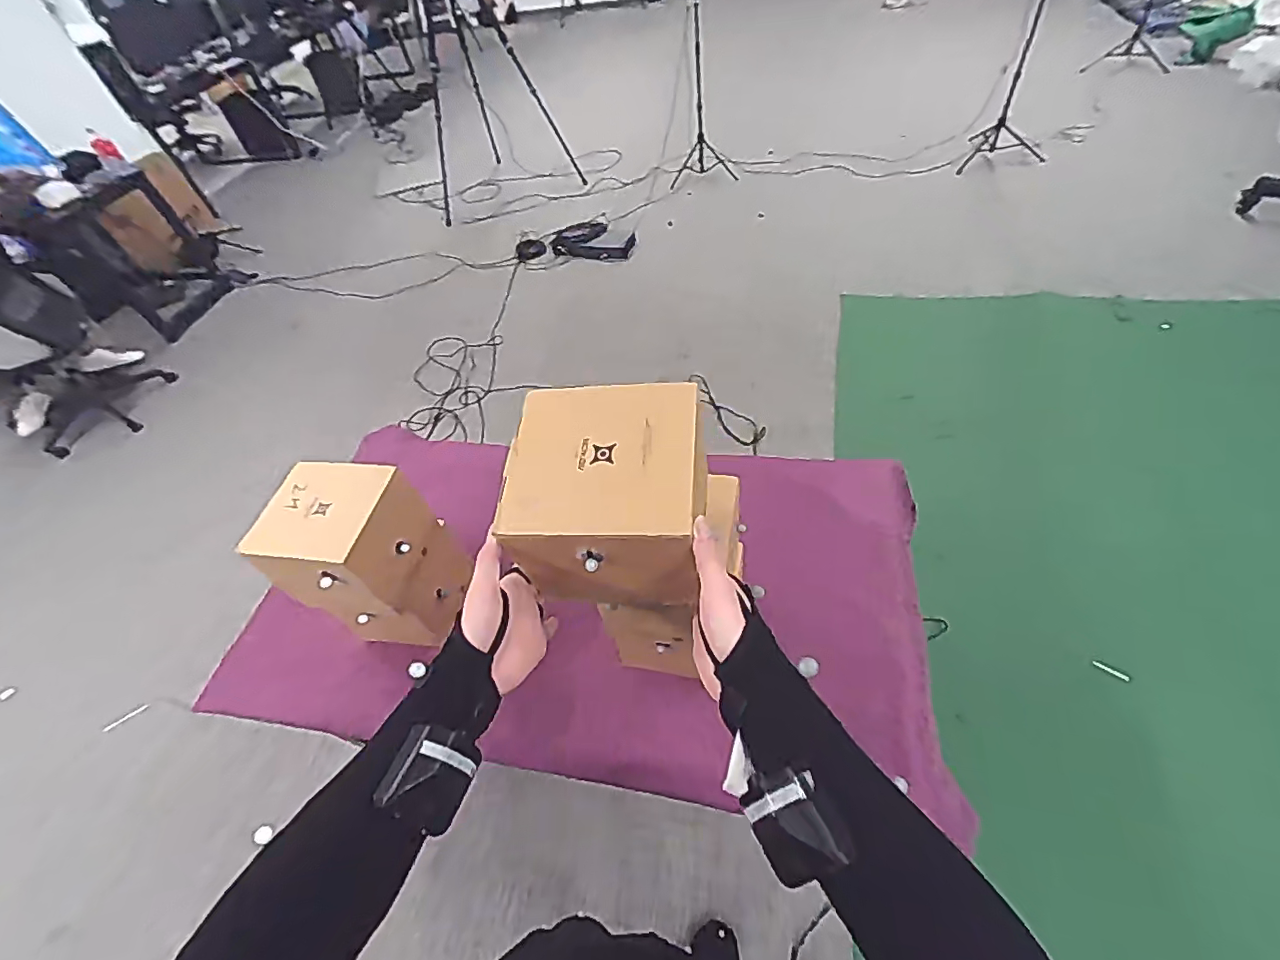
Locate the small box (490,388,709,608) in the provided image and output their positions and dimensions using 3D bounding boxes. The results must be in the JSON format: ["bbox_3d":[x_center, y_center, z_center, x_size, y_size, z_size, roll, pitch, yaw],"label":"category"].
[{"bbox_3d":[-0.024,0.025,0.556,0.179,0.176,0.168,0,58,11],"label":"small box"}]

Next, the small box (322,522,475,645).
[{"bbox_3d":[-0.421,0.183,0.963,0.179,0.176,0.168,2,52,11],"label":"small box"}]

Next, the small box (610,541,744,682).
[{"bbox_3d":[0.068,0.206,0.864,0.179,0.176,0.168,6,53,13],"label":"small box"}]

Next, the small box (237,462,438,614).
[{"bbox_3d":[-0.441,0.092,0.826,0.179,0.176,0.168,3,52,12],"label":"small box"}]
